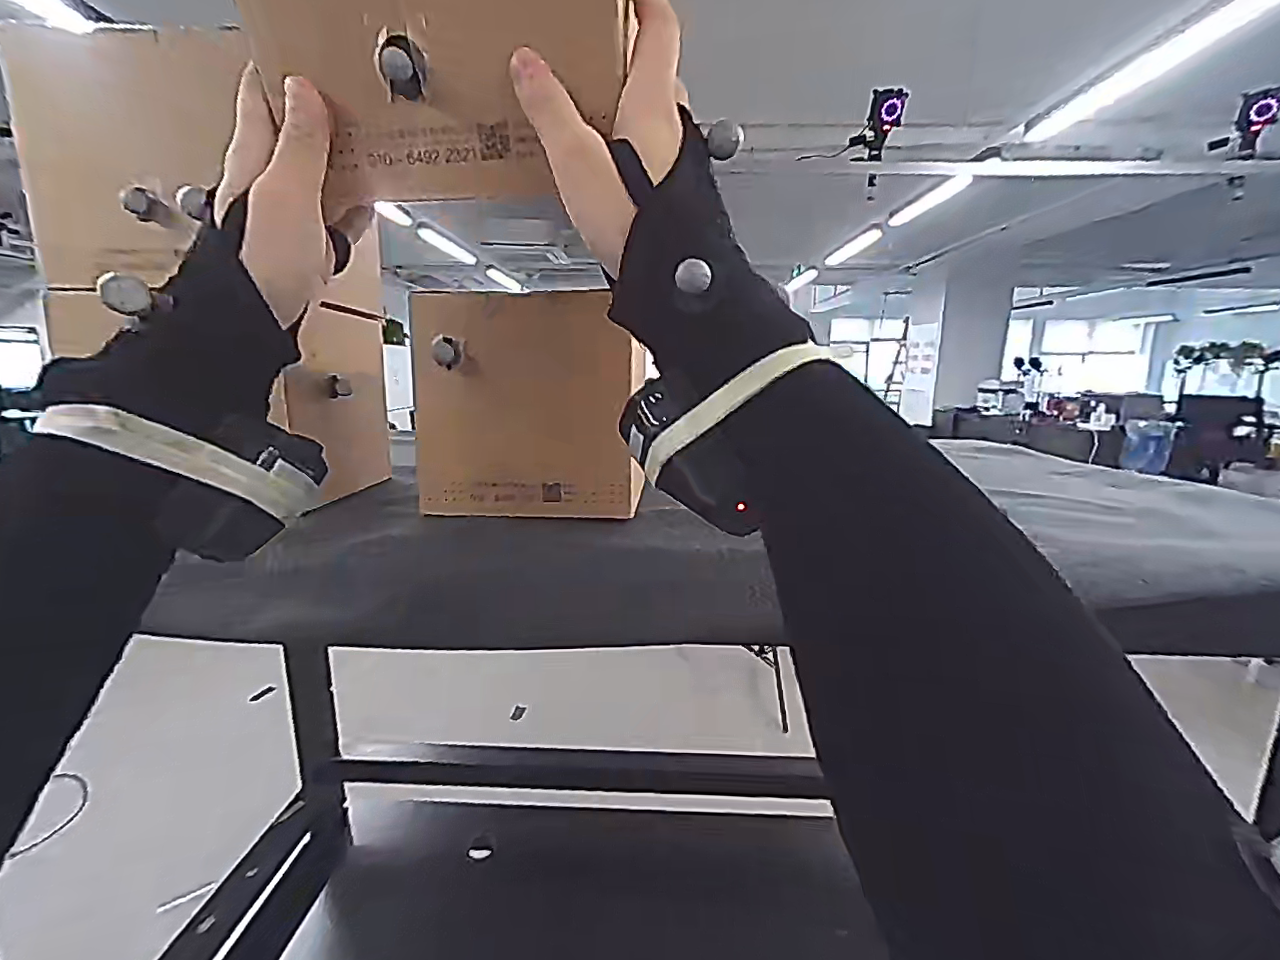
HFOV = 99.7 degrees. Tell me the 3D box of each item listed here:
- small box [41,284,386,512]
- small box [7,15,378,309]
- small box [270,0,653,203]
[{"bbox_3d":[-0.340,-0.070,0.476,0.168,0.176,0.179,1,11,-3],"label":"small box"},{"bbox_3d":[-0.336,-0.233,0.448,0.168,0.176,0.179,-1,10,-2],"label":"small box"},{"bbox_3d":[-0.080,-0.251,0.294,0.168,0.176,0.179,0,31,5],"label":"small box"}]
